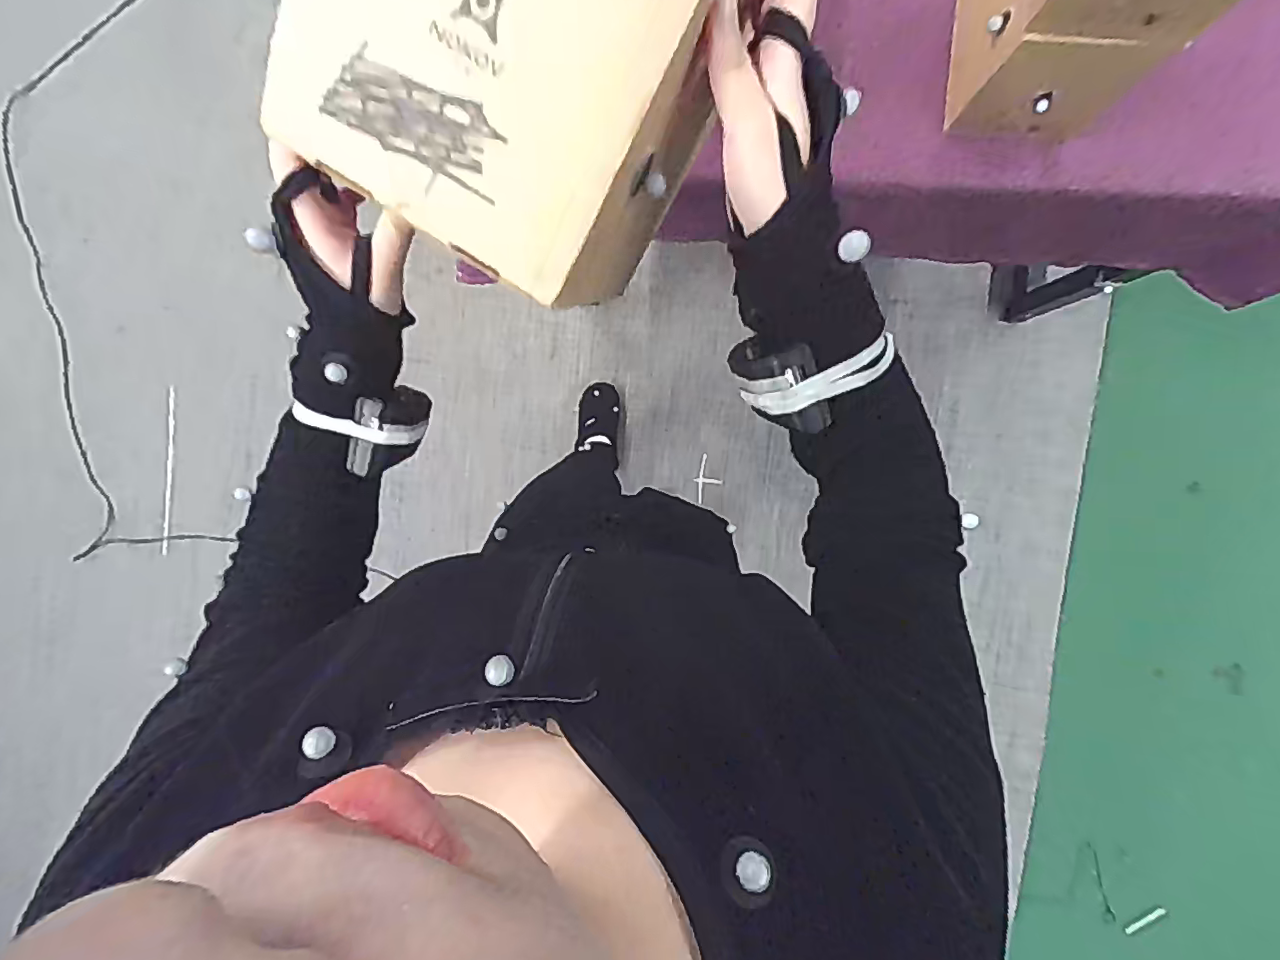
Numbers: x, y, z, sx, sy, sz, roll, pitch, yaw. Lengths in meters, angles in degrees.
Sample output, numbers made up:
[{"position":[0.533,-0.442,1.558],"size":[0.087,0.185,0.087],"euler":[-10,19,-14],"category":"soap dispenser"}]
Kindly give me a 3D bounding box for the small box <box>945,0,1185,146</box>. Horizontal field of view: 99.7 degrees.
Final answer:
[{"position":[0.482,-0.522,0.628],"size":[0.168,0.176,0.179],"euler":[5,92,3],"category":"small box"}]

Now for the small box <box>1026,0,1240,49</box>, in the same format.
[{"position":[0.474,-0.520,0.465],"size":[0.168,0.176,0.179],"euler":[7,92,3],"category":"small box"}]

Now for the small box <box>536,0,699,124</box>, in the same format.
[{"position":[-0.018,-0.565,0.657],"size":[0.179,0.176,0.168],"euler":[2,92,2],"category":"small box"}]
